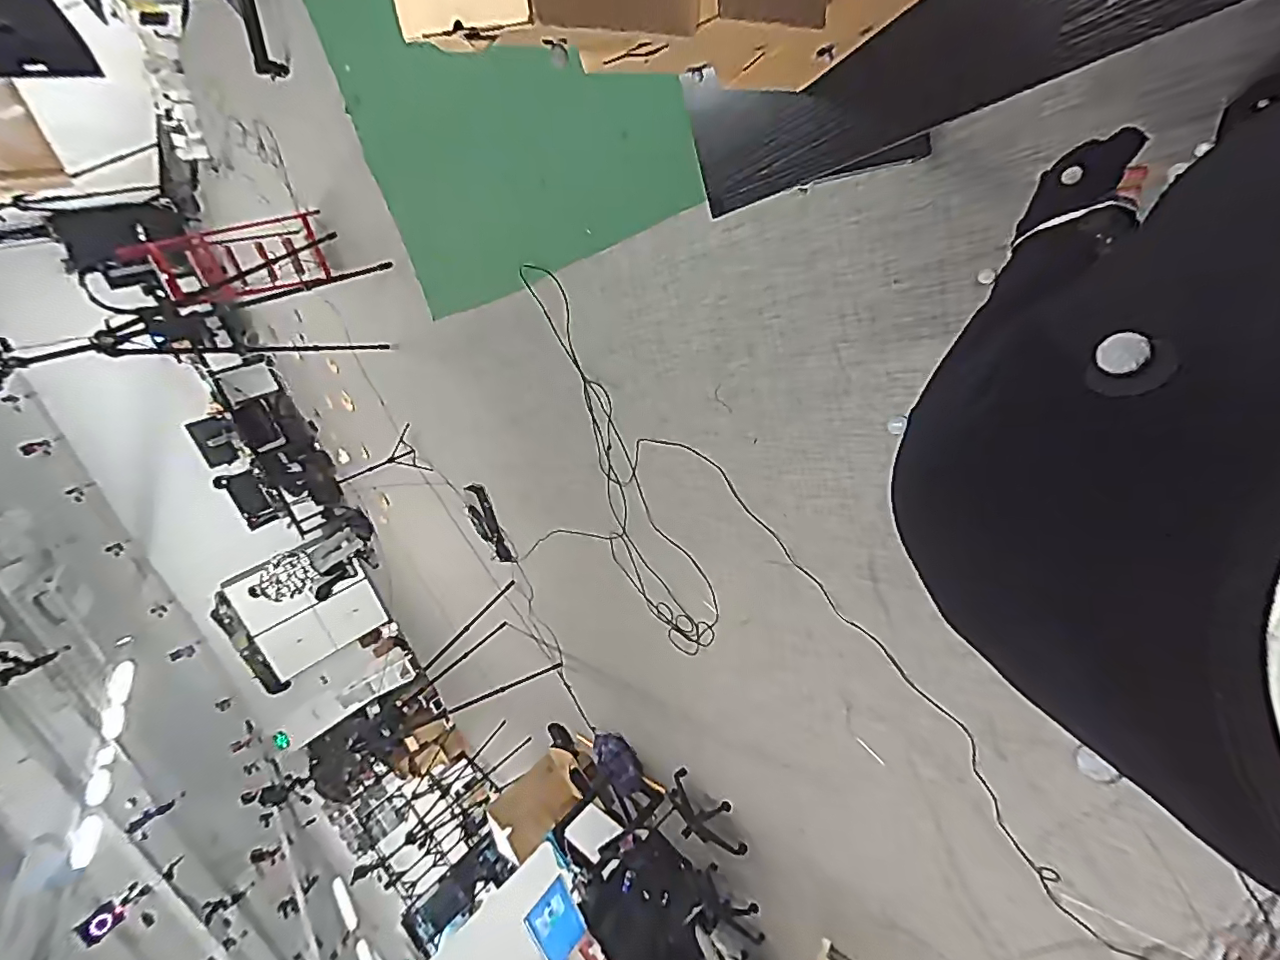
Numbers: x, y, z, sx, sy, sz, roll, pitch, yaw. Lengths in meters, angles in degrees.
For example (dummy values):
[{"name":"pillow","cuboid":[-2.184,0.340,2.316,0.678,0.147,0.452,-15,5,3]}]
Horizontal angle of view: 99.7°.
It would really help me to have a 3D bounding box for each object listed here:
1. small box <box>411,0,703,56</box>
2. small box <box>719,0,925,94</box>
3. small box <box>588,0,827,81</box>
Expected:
[{"name":"small box","cuboid":[-0.061,-0.414,0.382,0.168,0.176,0.179,28,136,34]},{"name":"small box","cuboid":[0.173,-0.546,0.572,0.168,0.176,0.179,-9,109,52]},{"name":"small box","cuboid":[0.057,-0.477,0.479,0.168,0.176,0.179,19,128,41]}]
